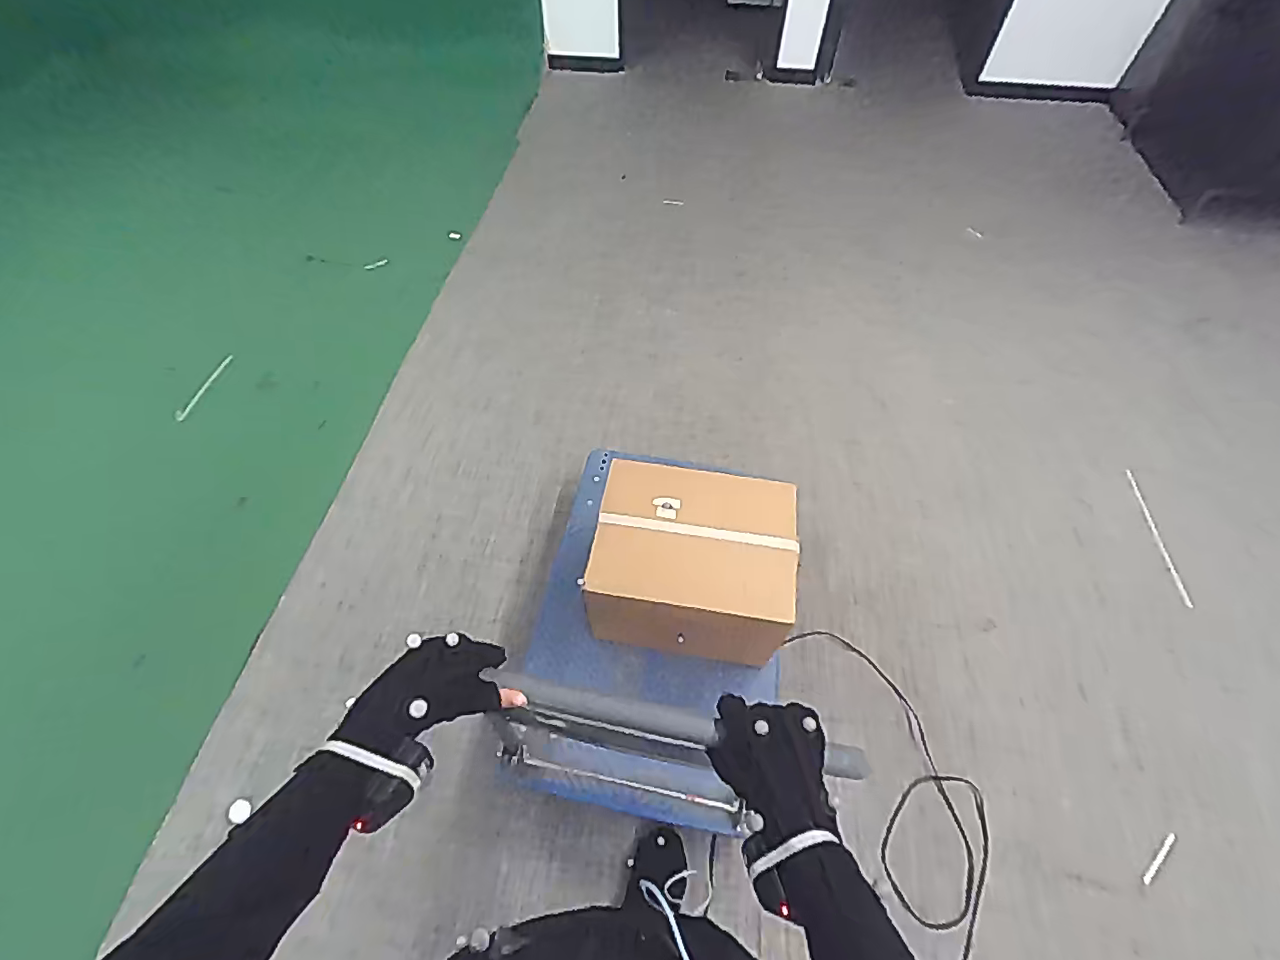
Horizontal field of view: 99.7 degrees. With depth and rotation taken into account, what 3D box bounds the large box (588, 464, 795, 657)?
[{"bbox_3d":[0.120,0.192,1.231,0.408,0.320,0.320,7,57,6],"label":"large box"}]
